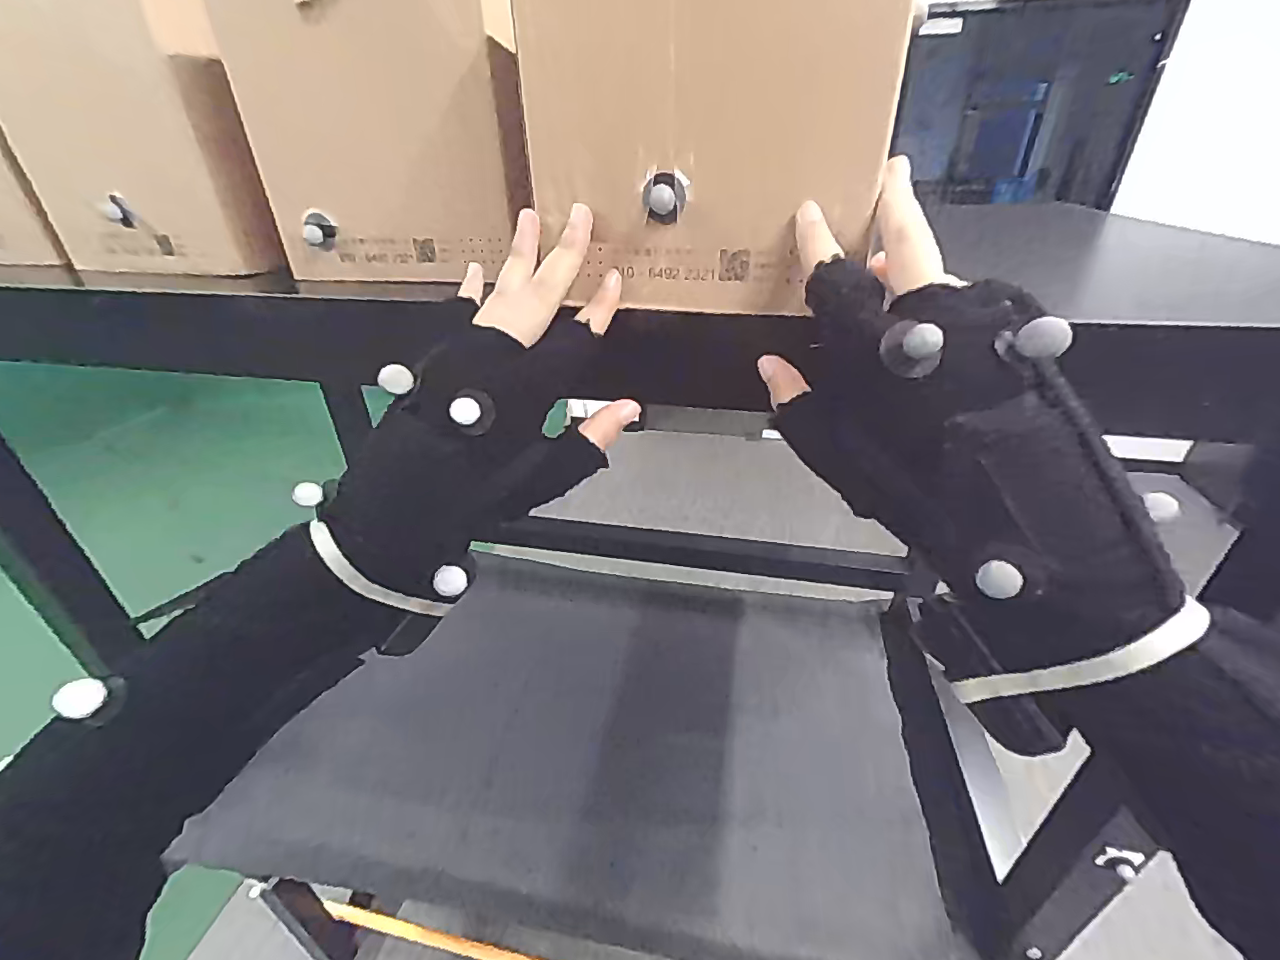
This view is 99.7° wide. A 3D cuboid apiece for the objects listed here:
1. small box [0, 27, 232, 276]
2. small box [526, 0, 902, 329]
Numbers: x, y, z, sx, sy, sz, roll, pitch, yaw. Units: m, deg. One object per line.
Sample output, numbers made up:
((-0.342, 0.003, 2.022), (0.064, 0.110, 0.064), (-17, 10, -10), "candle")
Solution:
((-0.529, -0.287, 0.489), (0.168, 0.176, 0.179), (6, 31, 10), "small box")
((0.042, -0.198, 0.319), (0.168, 0.176, 0.179), (6, 32, 12), "small box")
